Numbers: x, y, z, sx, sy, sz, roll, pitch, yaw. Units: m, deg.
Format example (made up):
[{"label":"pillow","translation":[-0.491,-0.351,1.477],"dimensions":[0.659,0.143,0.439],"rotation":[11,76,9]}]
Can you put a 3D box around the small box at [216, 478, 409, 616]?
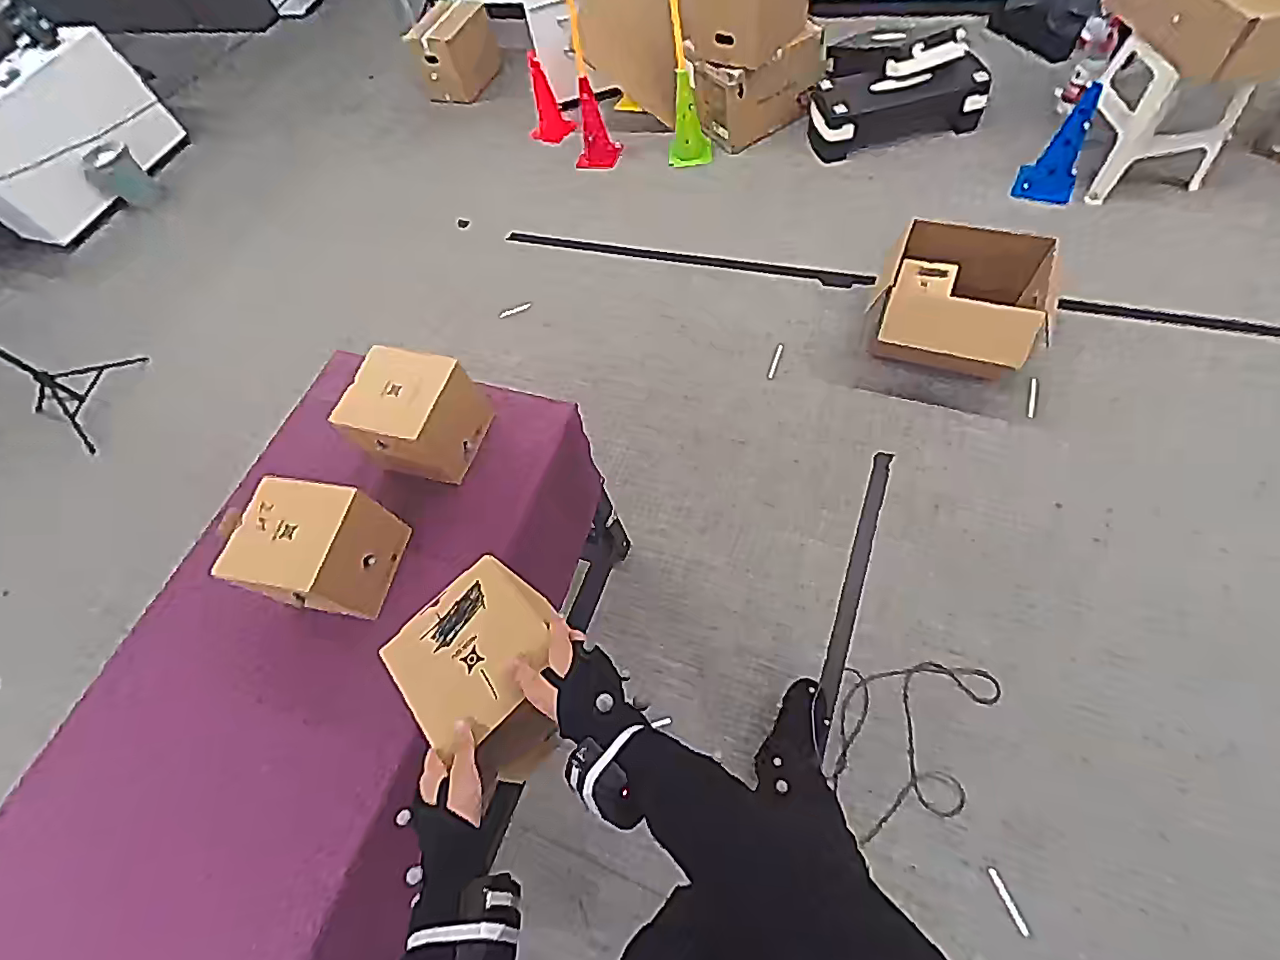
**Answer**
[{"label":"small box","translation":[-0.515,0.115,0.882],"dimensions":[0.179,0.176,0.168],"rotation":[6,63,13]}]

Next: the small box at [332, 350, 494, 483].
[{"label":"small box","translation":[-0.399,-0.110,0.981],"dimensions":[0.179,0.176,0.168],"rotation":[12,66,16]}]

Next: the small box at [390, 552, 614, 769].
[{"label":"small box","translation":[-0.161,0.227,0.666],"dimensions":[0.168,0.176,0.179],"rotation":[-42,57,-10]}]
